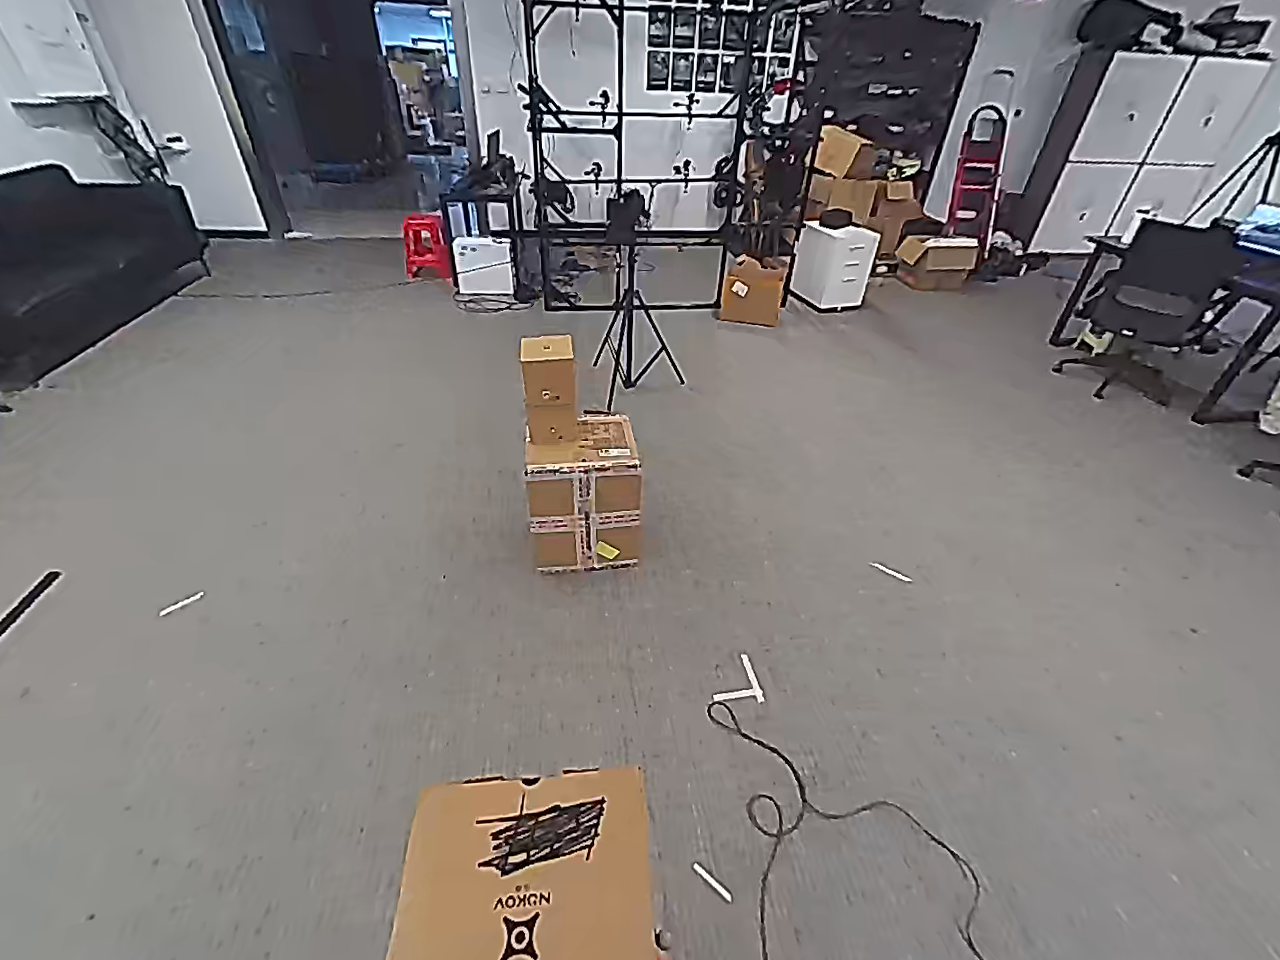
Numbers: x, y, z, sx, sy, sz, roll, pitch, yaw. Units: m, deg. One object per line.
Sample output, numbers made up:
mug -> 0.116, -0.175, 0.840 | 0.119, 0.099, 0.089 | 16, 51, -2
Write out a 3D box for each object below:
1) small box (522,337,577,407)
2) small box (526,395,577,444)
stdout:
small box -> -0.301, -0.360, 1.803 | 0.168, 0.176, 0.179 | -6, 41, -7
small box -> -0.312, -0.246, 1.920 | 0.168, 0.176, 0.179 | -5, 40, -7
